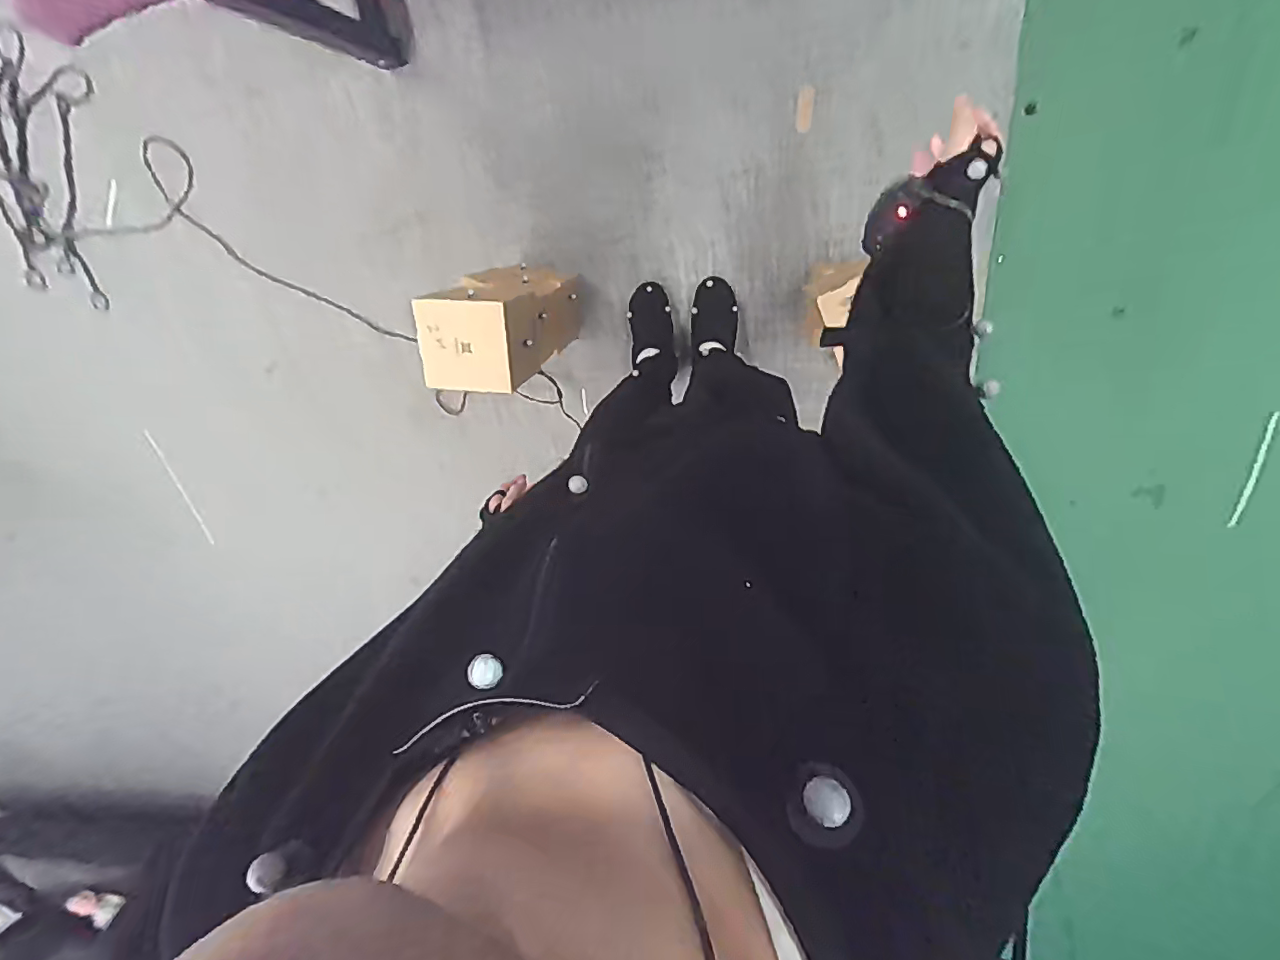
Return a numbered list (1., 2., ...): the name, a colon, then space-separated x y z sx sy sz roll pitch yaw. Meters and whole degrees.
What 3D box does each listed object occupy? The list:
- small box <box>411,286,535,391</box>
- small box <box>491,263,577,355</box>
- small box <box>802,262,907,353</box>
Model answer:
1. small box: -0.309 -0.279 1.045 0.179 0.176 0.168 6 116 8
2. small box: -0.259 -0.428 1.332 0.168 0.176 0.179 12 119 4
3. small box: 0.472 -0.395 1.224 0.179 0.176 0.168 7 118 7
